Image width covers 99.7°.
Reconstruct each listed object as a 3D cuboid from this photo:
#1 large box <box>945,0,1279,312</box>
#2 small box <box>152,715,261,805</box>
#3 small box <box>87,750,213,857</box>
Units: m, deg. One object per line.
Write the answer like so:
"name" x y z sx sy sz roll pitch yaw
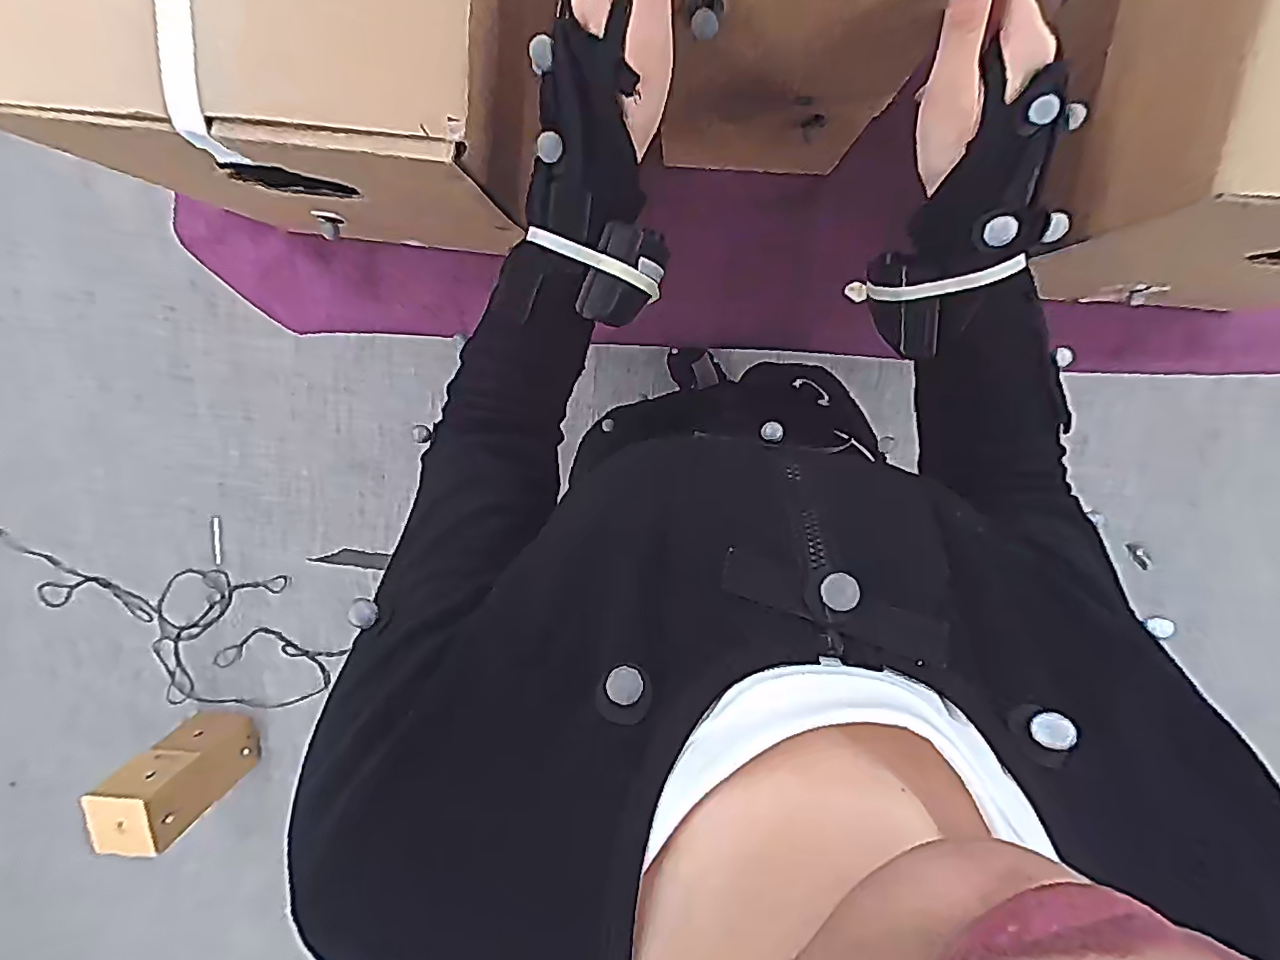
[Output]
"large box" 0.471 -0.351 0.386 0.320 0.320 0.408 6 100 3
"small box" -1.253 0.806 1.570 0.179 0.176 0.168 -1 103 4
"small box" -1.266 0.836 1.412 0.168 0.176 0.179 1 103 4
